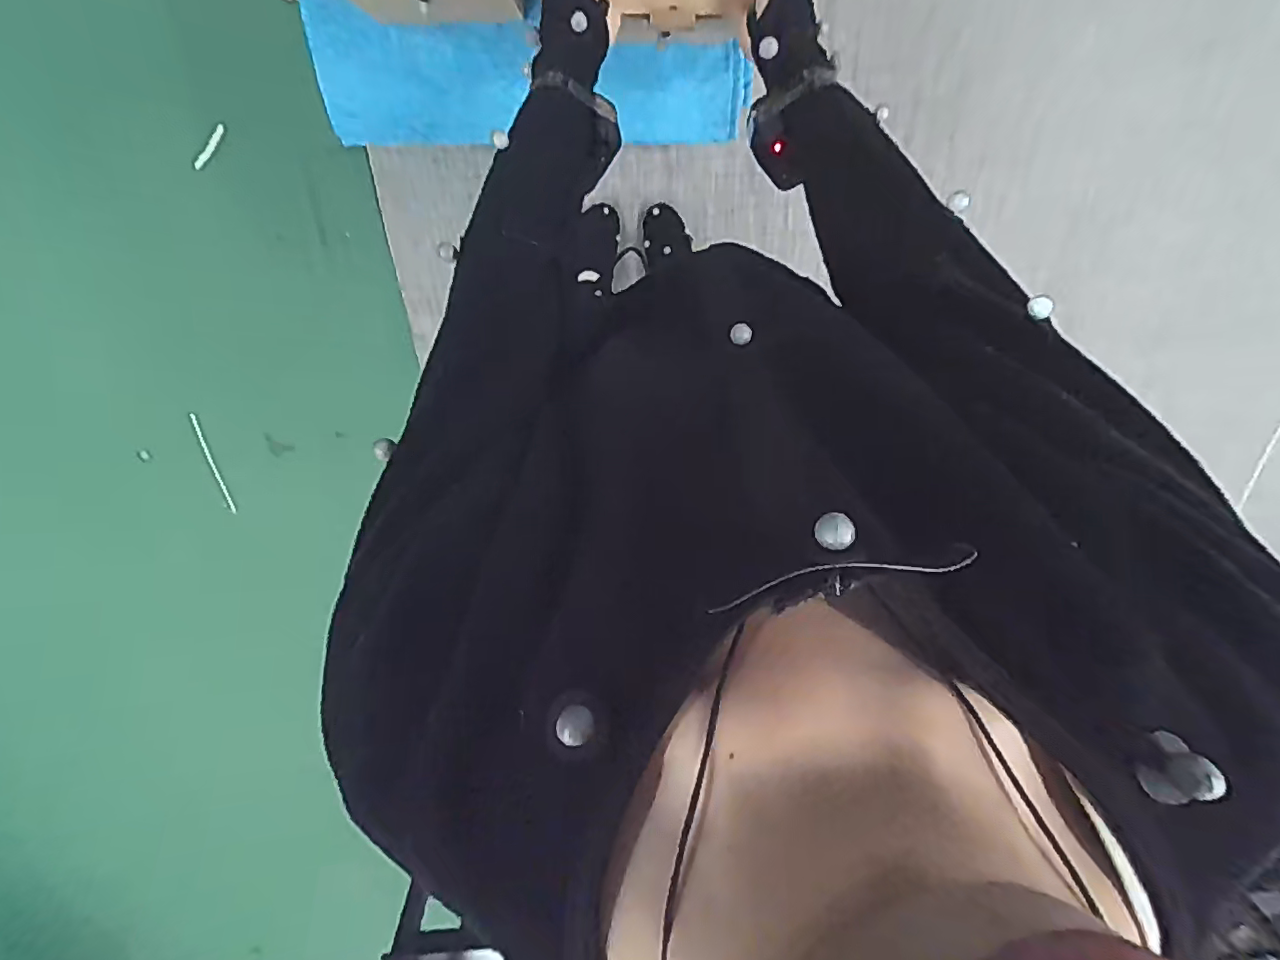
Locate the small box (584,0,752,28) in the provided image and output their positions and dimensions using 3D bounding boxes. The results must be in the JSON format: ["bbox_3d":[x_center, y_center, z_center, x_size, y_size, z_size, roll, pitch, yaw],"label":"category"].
[{"bbox_3d":[0.026,-0.570,0.534,0.168,0.176,0.179,-2,123,-3],"label":"small box"}]

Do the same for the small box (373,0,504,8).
[{"bbox_3d":[-0.220,-0.587,0.521,0.179,0.176,0.168,-2,117,-1],"label":"small box"}]
